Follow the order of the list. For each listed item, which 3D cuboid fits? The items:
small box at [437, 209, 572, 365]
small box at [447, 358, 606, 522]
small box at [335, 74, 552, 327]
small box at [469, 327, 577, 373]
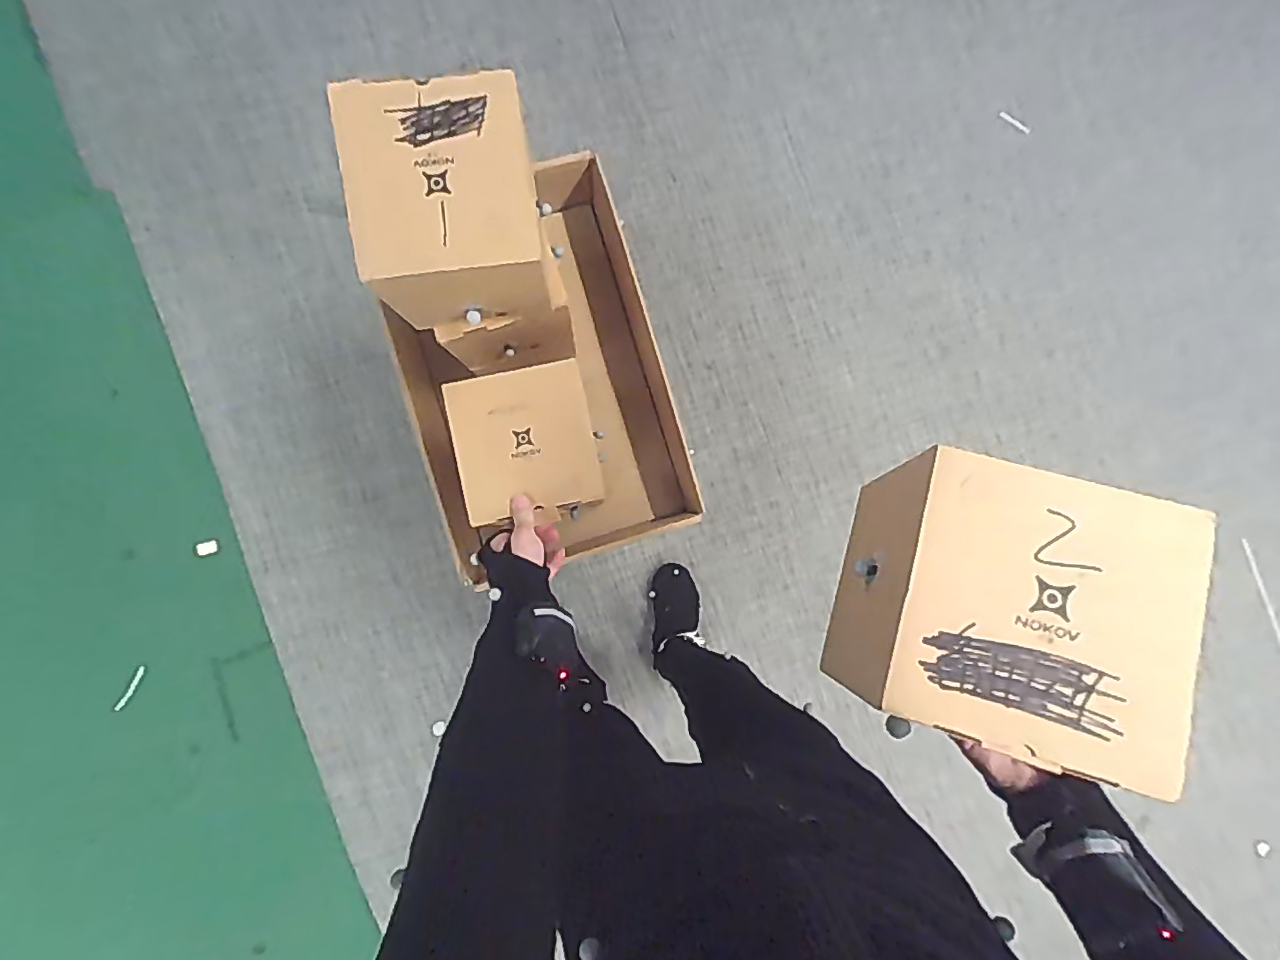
[{"bbox_3d":[-0.196,-0.275,0.735,0.168,0.176,0.179,-18,92,-5],"label":"small box"},{"bbox_3d":[-0.140,-0.046,0.727,0.168,0.176,0.179,-11,87,-4],"label":"small box"},{"bbox_3d":[-0.190,-0.278,0.571,0.168,0.176,0.179,-8,92,-5],"label":"small box"},{"bbox_3d":[-0.206,-0.278,0.895,0.168,0.176,0.179,-17,93,-3],"label":"small box"}]
